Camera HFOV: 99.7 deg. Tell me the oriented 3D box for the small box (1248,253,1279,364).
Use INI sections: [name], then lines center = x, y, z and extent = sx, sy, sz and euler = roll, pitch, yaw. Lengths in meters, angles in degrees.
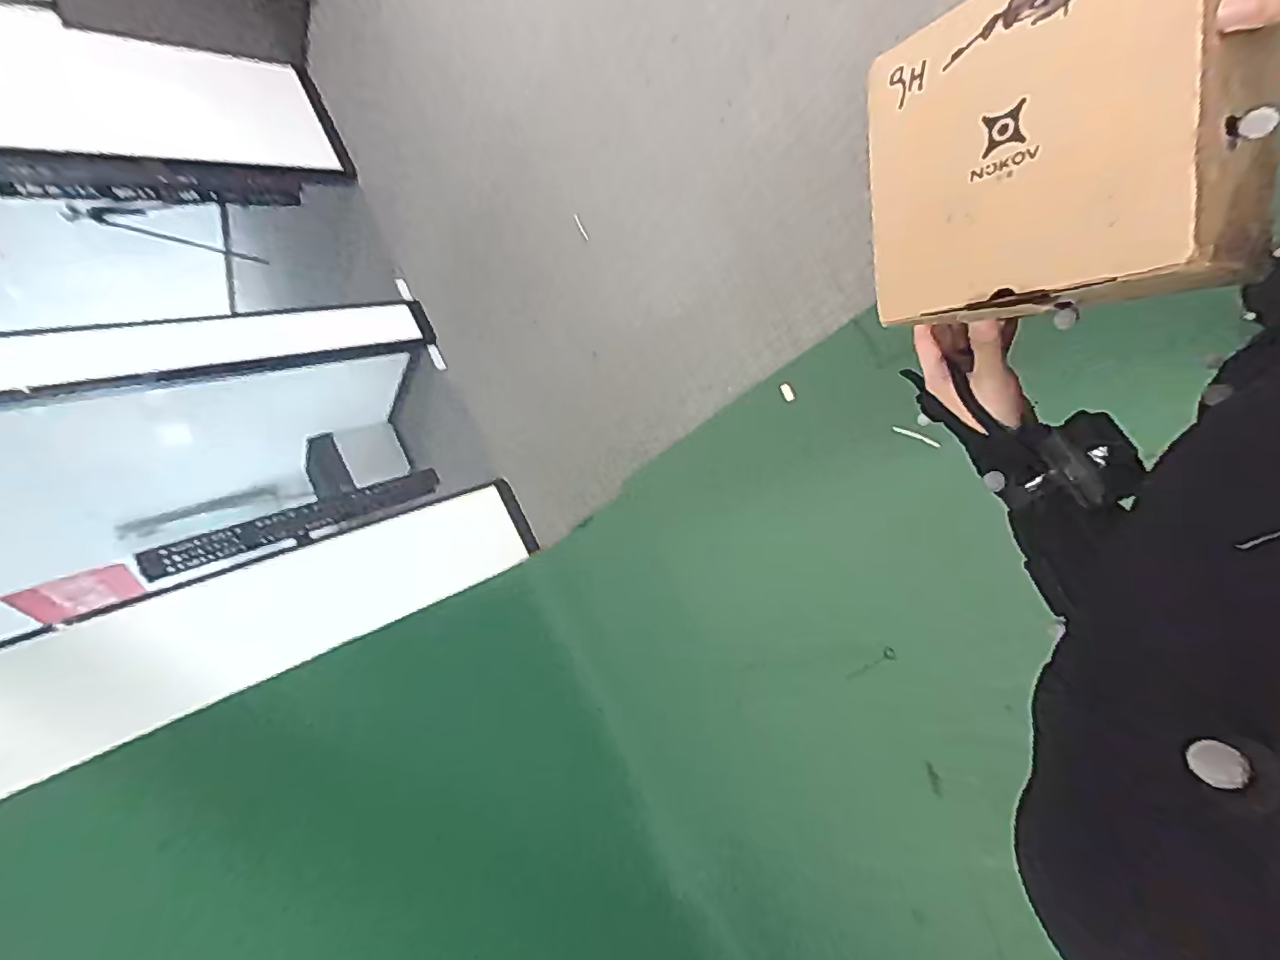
[small box]
center = 1.058, -0.265, 0.808
extent = 0.179, 0.176, 0.168
euler = 13, 112, 58
